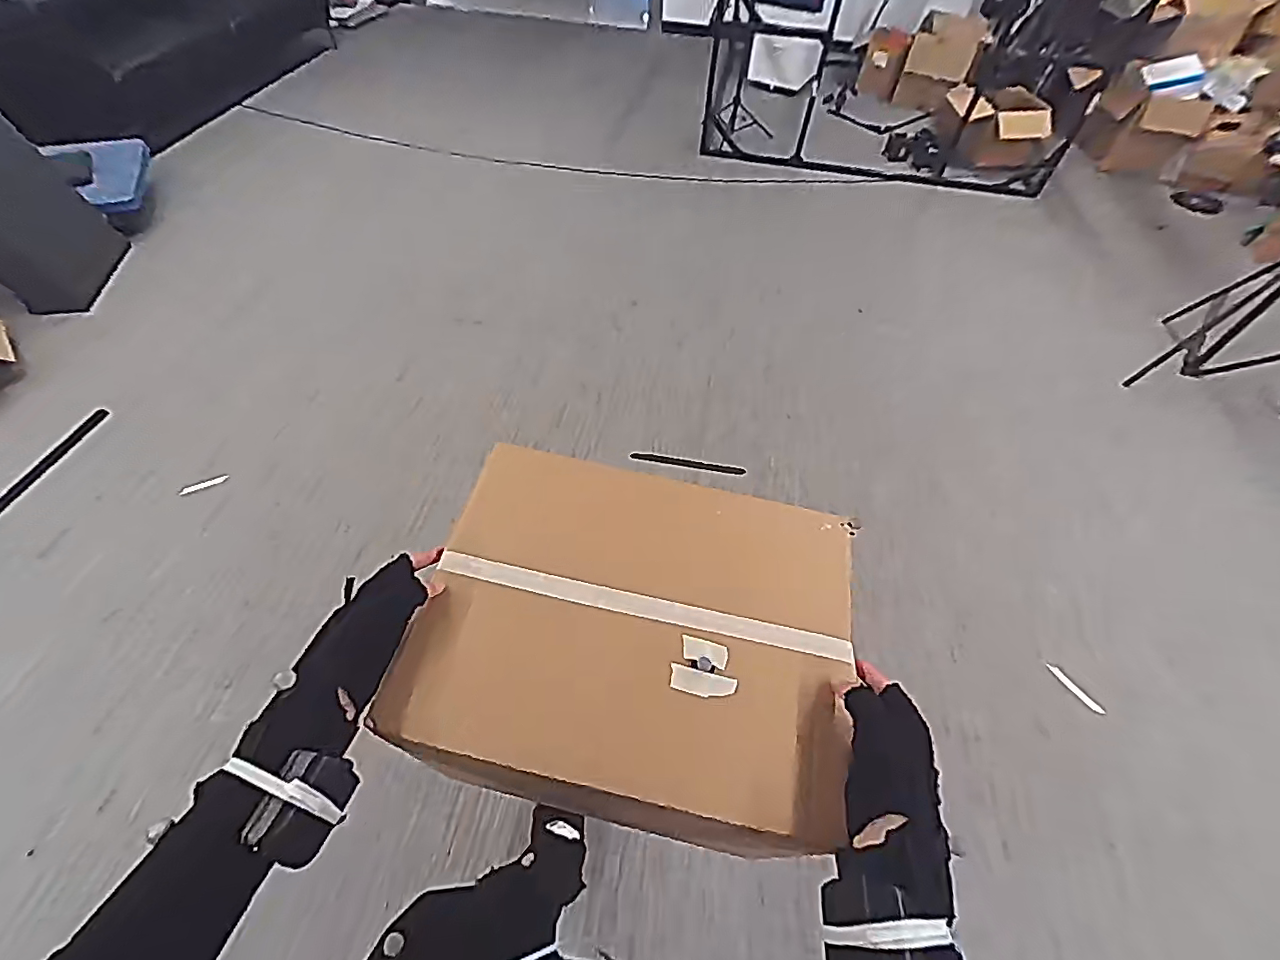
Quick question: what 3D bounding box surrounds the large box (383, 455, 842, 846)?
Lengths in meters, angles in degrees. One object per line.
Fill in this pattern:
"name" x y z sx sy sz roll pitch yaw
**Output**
"large box" -0.013 0.214 0.657 0.408 0.320 0.320 13 55 3
